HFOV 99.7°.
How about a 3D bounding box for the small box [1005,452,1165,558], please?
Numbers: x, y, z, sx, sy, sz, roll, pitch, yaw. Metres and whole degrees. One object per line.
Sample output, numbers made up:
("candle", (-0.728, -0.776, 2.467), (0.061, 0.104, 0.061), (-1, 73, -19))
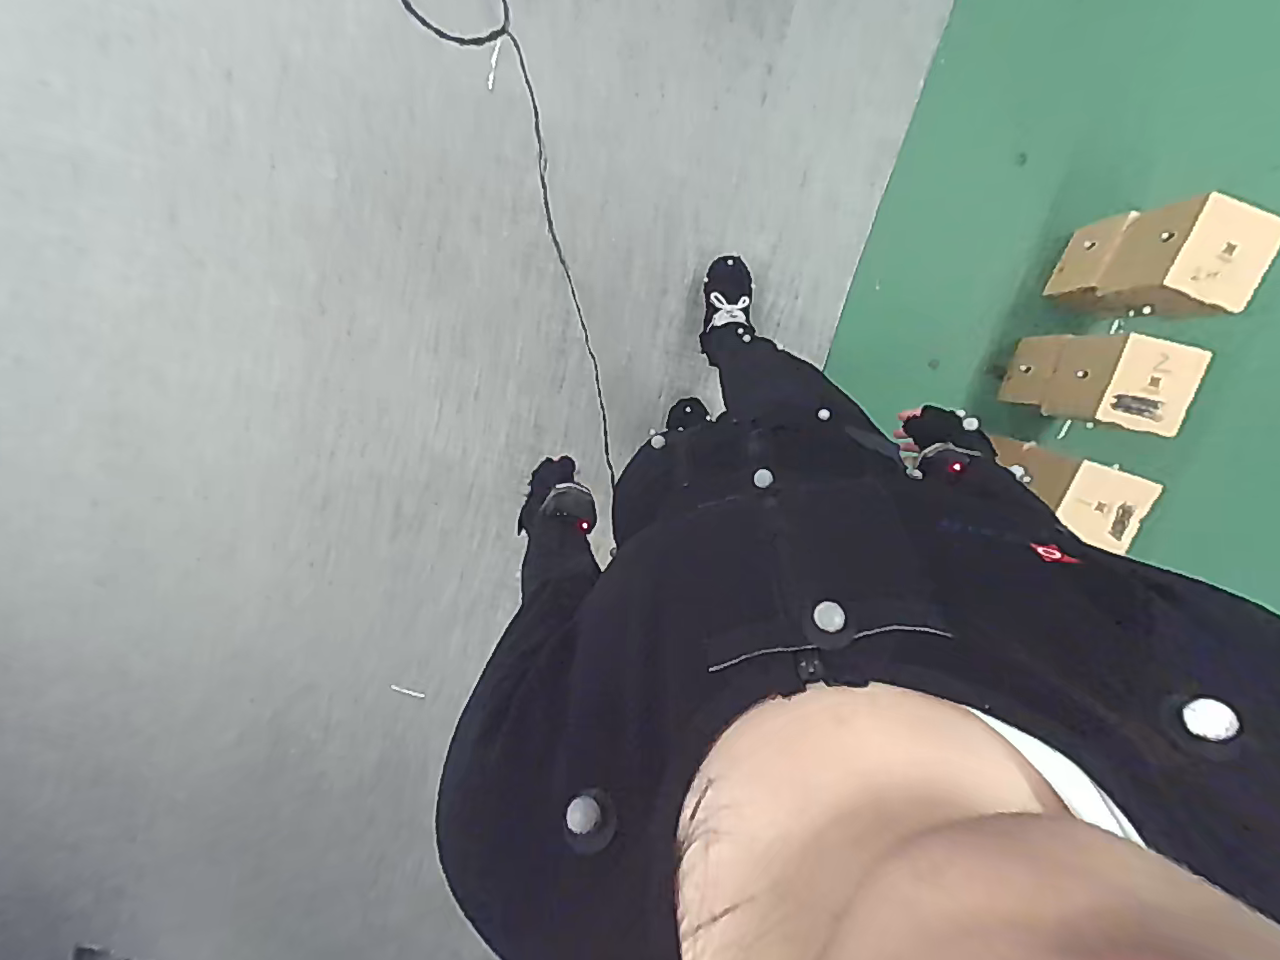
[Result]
("small box", (0.963, 0.046, 1.188), (0.179, 0.176, 0.168), (18, 103, -1))

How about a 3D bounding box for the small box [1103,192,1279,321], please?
("small box", (1.093, -0.434, 1.080), (0.168, 0.176, 0.179), (21, 101, -1))

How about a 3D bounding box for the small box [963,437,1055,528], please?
("small box", (0.949, 0.006, 1.348), (0.168, 0.176, 0.179), (20, 102, -1))

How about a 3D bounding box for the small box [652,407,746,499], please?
("small box", (0.149, -0.074, 1.401), (0.179, 0.176, 0.168), (32, 113, 14))

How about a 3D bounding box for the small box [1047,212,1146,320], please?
("small box", (1.096, -0.478, 1.240), (0.179, 0.176, 0.168), (22, 102, -2))
